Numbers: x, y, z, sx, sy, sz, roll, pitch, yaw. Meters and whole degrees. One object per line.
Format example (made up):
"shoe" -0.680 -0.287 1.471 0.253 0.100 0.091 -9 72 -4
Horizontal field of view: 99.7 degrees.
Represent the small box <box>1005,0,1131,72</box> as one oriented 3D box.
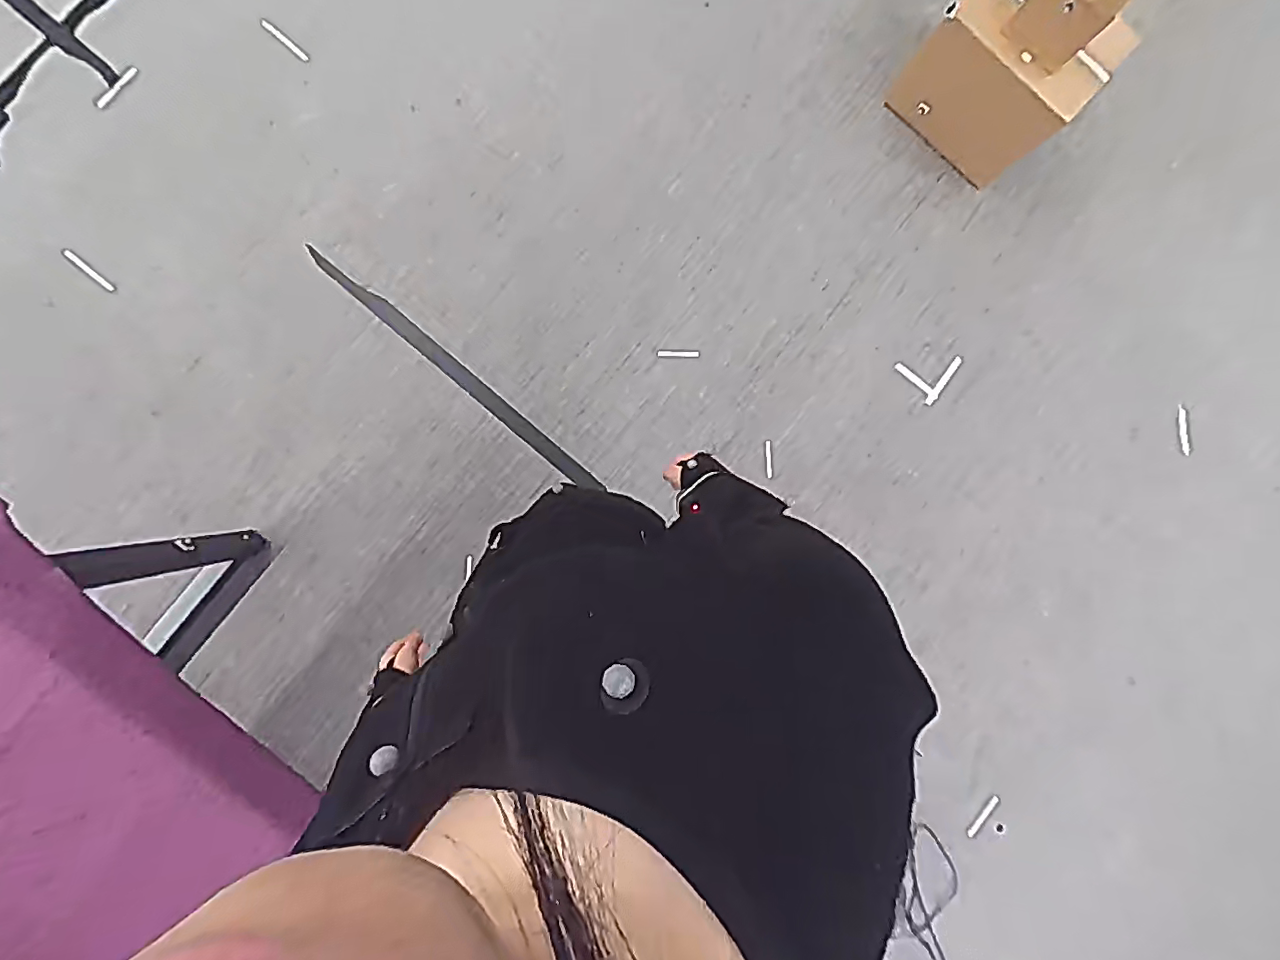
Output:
"small box" 1.001 -1.105 1.245 0.179 0.176 0.168 39 87 -4
